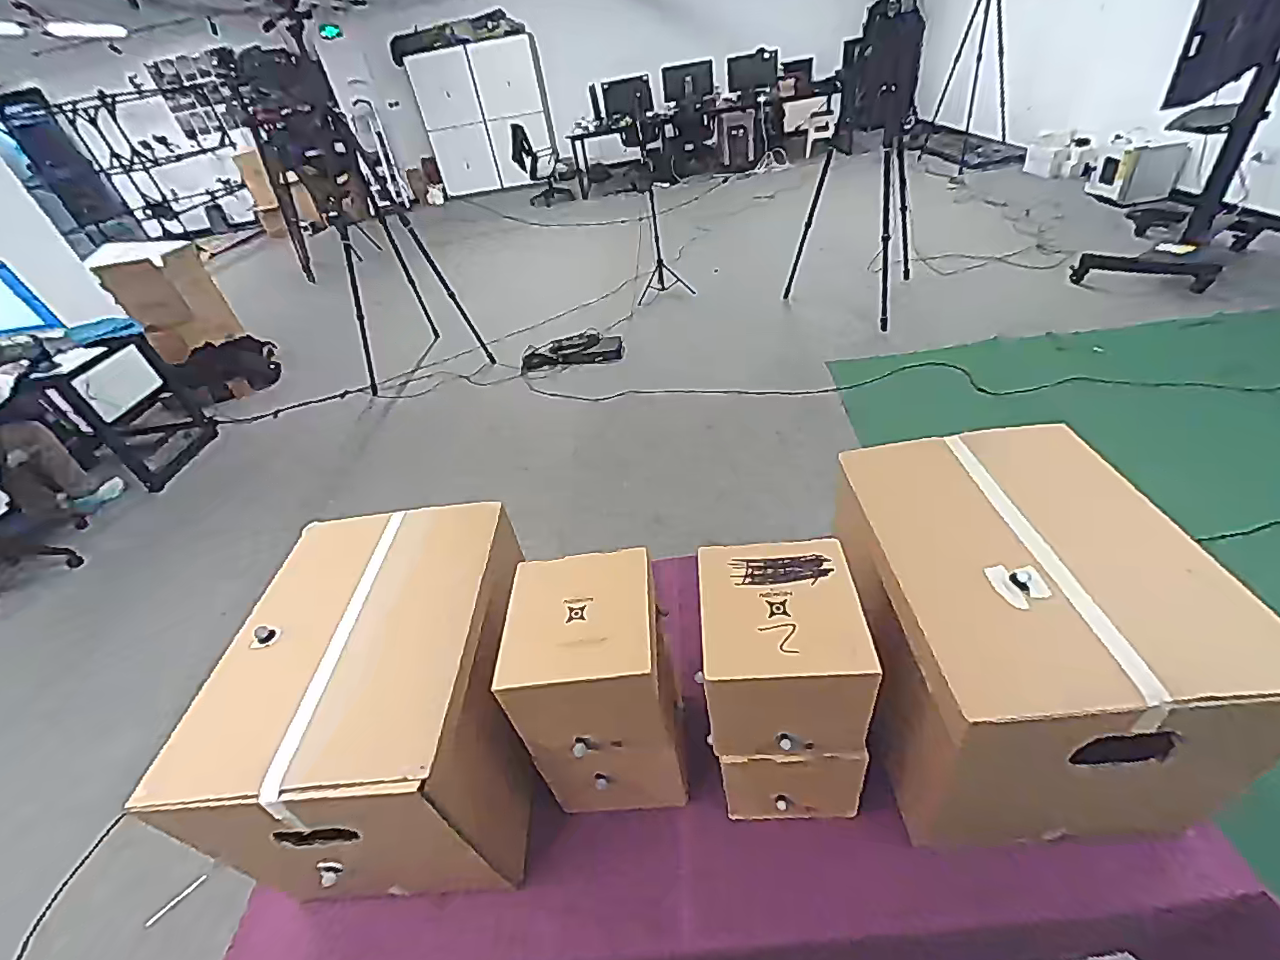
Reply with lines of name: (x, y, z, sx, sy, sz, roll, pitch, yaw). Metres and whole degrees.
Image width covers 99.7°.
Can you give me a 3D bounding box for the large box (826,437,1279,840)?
large box: (0.466, 0.192, 0.716, 0.320, 0.320, 0.408, -7, 39, 5)
